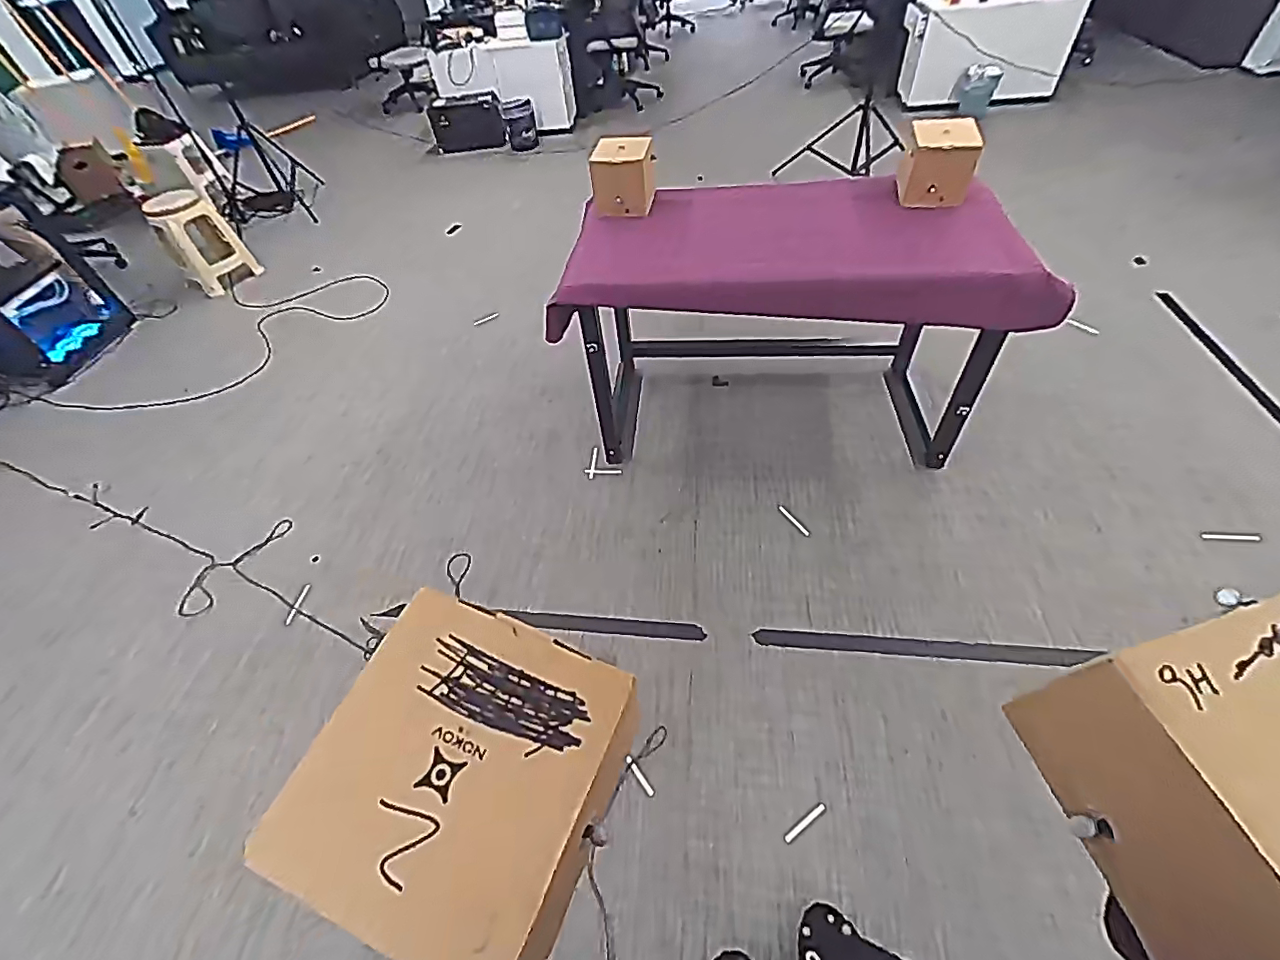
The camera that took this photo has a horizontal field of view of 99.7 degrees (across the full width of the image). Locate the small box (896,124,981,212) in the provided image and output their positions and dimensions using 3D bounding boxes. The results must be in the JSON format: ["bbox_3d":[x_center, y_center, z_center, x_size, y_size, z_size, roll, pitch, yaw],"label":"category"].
[{"bbox_3d":[0.857,-0.906,1.572,0.168,0.176,0.179,5,55,10],"label":"small box"}]

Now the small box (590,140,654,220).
[{"bbox_3d":[-0.049,-0.944,1.700,0.168,0.176,0.179,5,52,10],"label":"small box"}]

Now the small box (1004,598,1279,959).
[{"bbox_3d":[0.381,0.187,0.337,0.168,0.176,0.179,-18,58,-1],"label":"small box"}]
